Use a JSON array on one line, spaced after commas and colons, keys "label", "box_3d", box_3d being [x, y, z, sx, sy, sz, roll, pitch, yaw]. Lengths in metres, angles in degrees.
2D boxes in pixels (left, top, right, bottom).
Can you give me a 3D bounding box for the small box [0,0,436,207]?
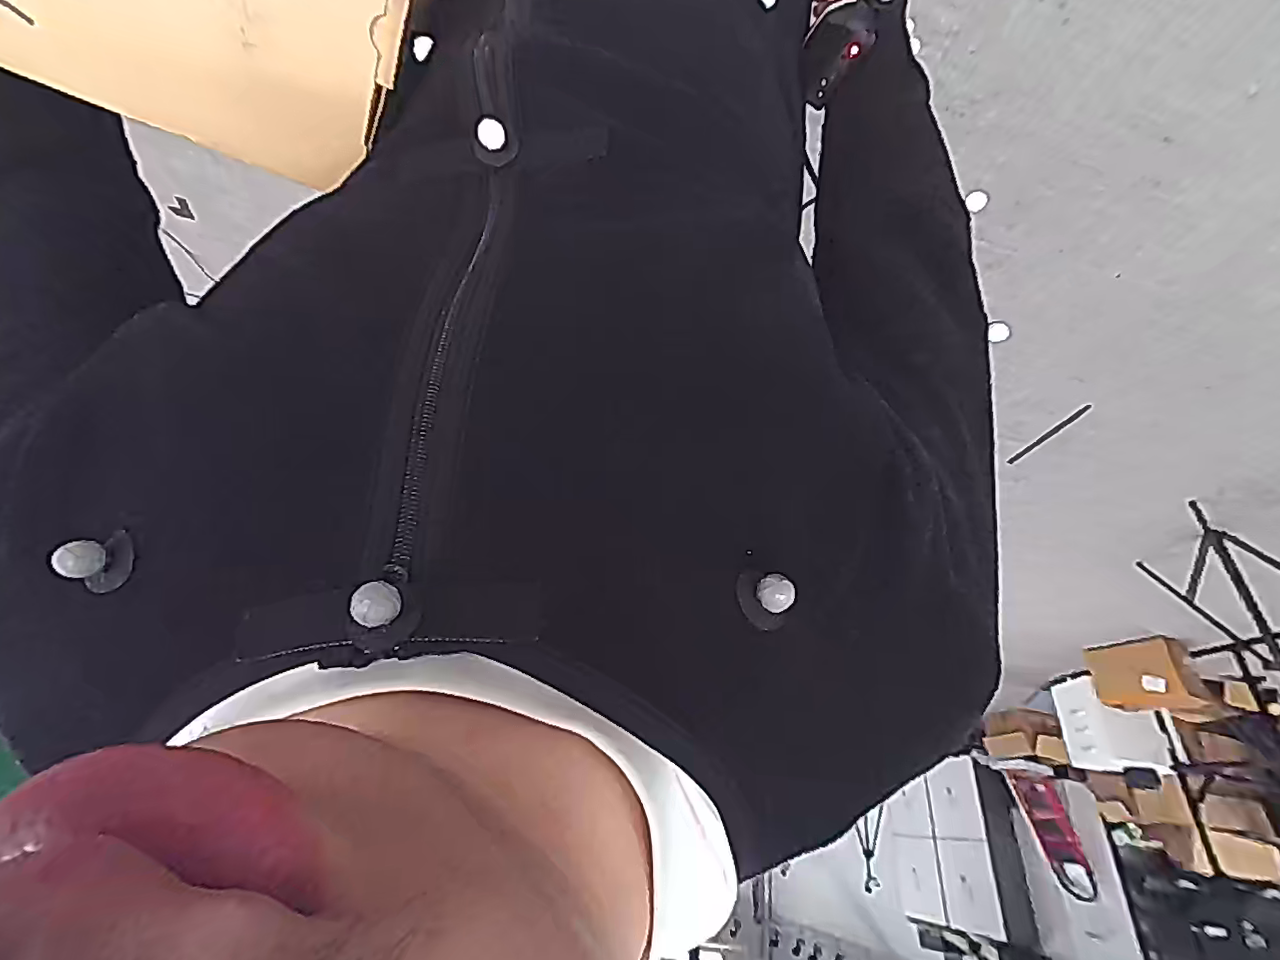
[{"label": "small box", "box_3d": [-0.216, -0.286, 0.303, 0.179, 0.176, 0.168, 13, 120, -24]}]
